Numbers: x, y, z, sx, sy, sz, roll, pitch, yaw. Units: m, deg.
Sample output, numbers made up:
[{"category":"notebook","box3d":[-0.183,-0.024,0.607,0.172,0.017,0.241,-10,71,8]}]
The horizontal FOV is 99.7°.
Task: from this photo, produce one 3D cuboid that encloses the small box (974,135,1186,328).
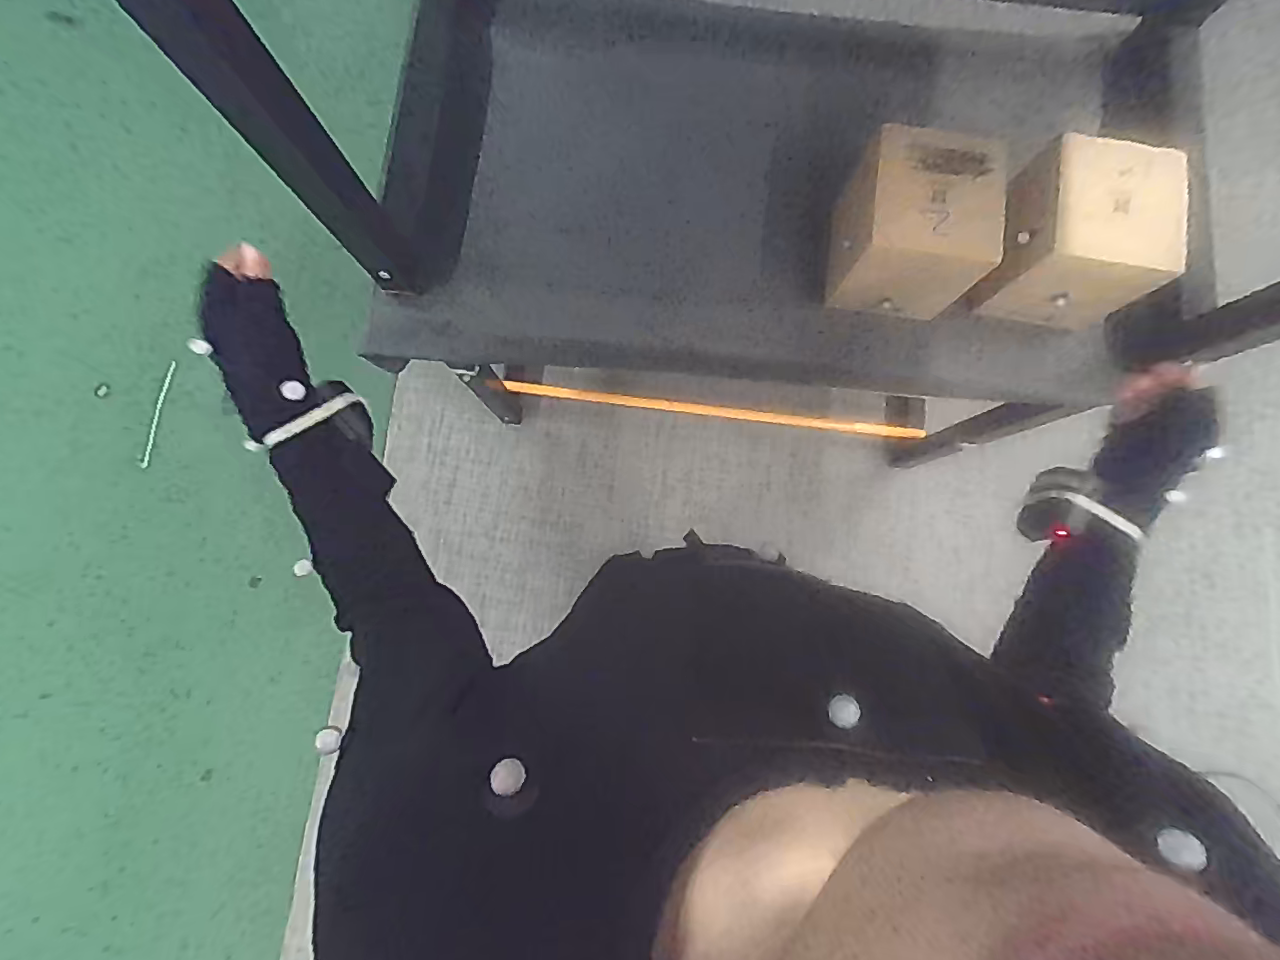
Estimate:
[{"category":"small box","box3d":[0.603,-0.336,0.762,0.168,0.176,0.179,10,80,1]}]
